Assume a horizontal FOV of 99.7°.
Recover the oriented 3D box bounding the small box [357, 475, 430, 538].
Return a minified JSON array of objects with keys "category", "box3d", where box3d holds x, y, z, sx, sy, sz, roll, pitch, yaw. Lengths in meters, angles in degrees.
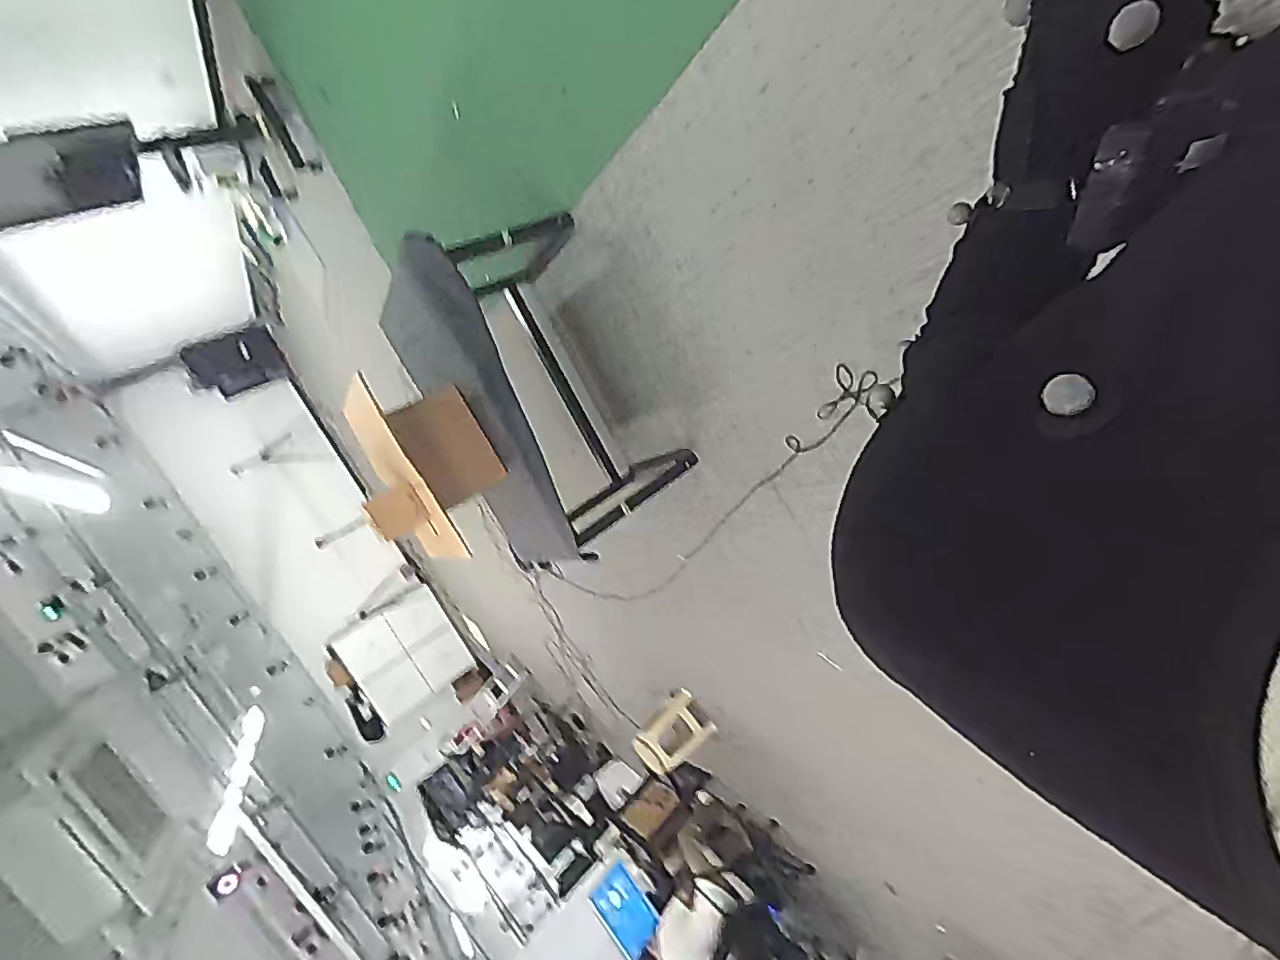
[{"category":"small box","box3d":[-0.879,0.094,1.934,0.179,0.176,0.168,-12,109,57]}]
